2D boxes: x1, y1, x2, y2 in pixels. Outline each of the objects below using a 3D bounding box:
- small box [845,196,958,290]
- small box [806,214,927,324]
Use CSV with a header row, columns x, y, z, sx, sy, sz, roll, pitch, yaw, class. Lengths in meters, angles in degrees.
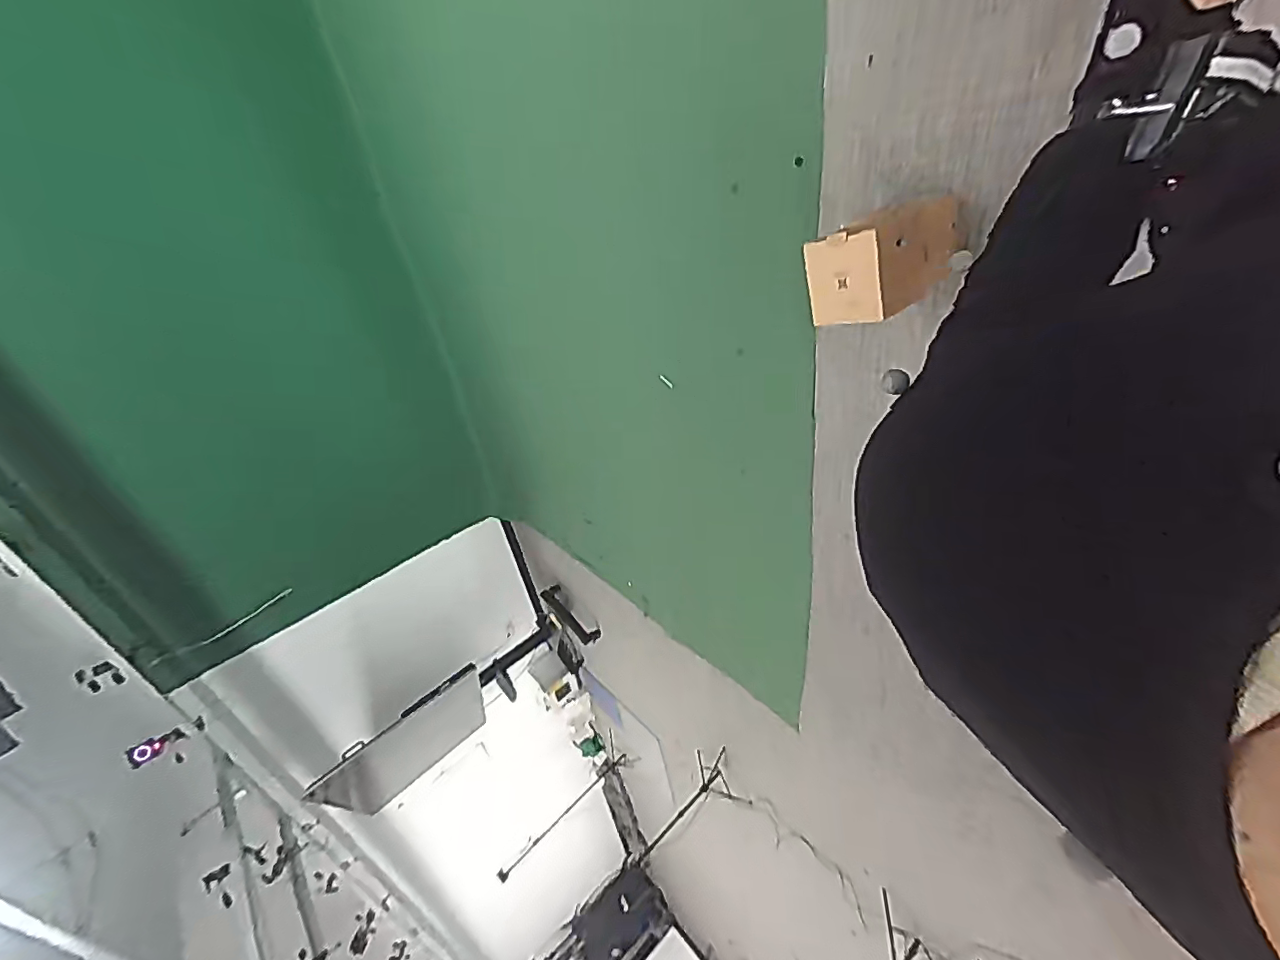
x,y,z,sx,sy,sz,roll,pitch,yaw,class
0.592,-0.525,1.219,0.179,0.176,0.168,18,131,50,small box
0.478,-0.443,1.135,0.168,0.176,0.179,15,130,52,small box
